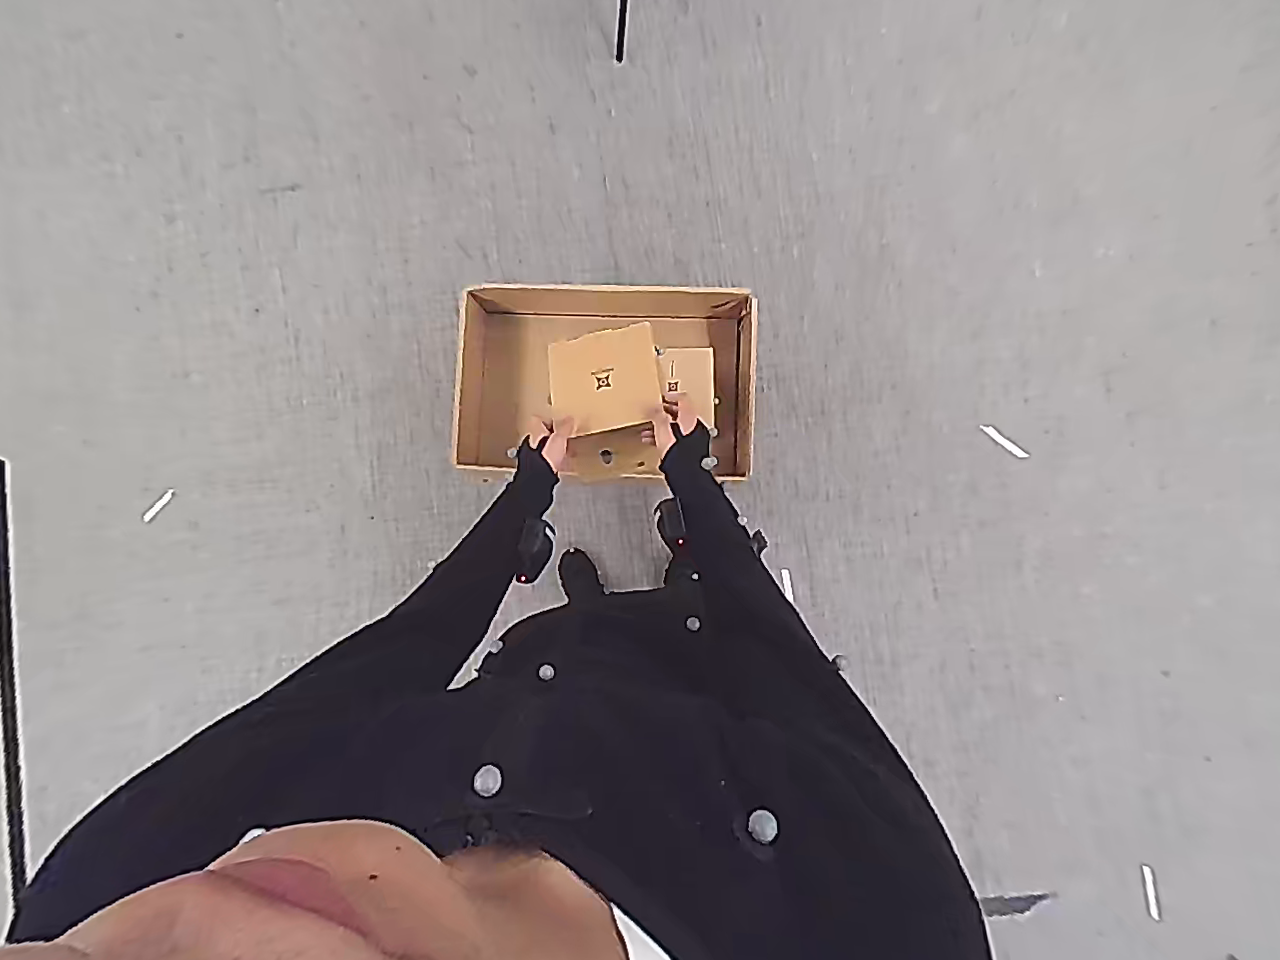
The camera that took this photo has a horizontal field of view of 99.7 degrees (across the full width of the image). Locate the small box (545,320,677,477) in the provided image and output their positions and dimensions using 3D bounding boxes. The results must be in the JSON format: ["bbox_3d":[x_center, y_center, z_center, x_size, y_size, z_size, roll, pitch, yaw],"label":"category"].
[{"bbox_3d":[-0.042,-0.117,0.857,0.168,0.176,0.179,-11,65,6],"label":"small box"}]

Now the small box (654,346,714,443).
[{"bbox_3d":[0.068,-0.172,1.137,0.168,0.176,0.179,0,86,2],"label":"small box"}]
